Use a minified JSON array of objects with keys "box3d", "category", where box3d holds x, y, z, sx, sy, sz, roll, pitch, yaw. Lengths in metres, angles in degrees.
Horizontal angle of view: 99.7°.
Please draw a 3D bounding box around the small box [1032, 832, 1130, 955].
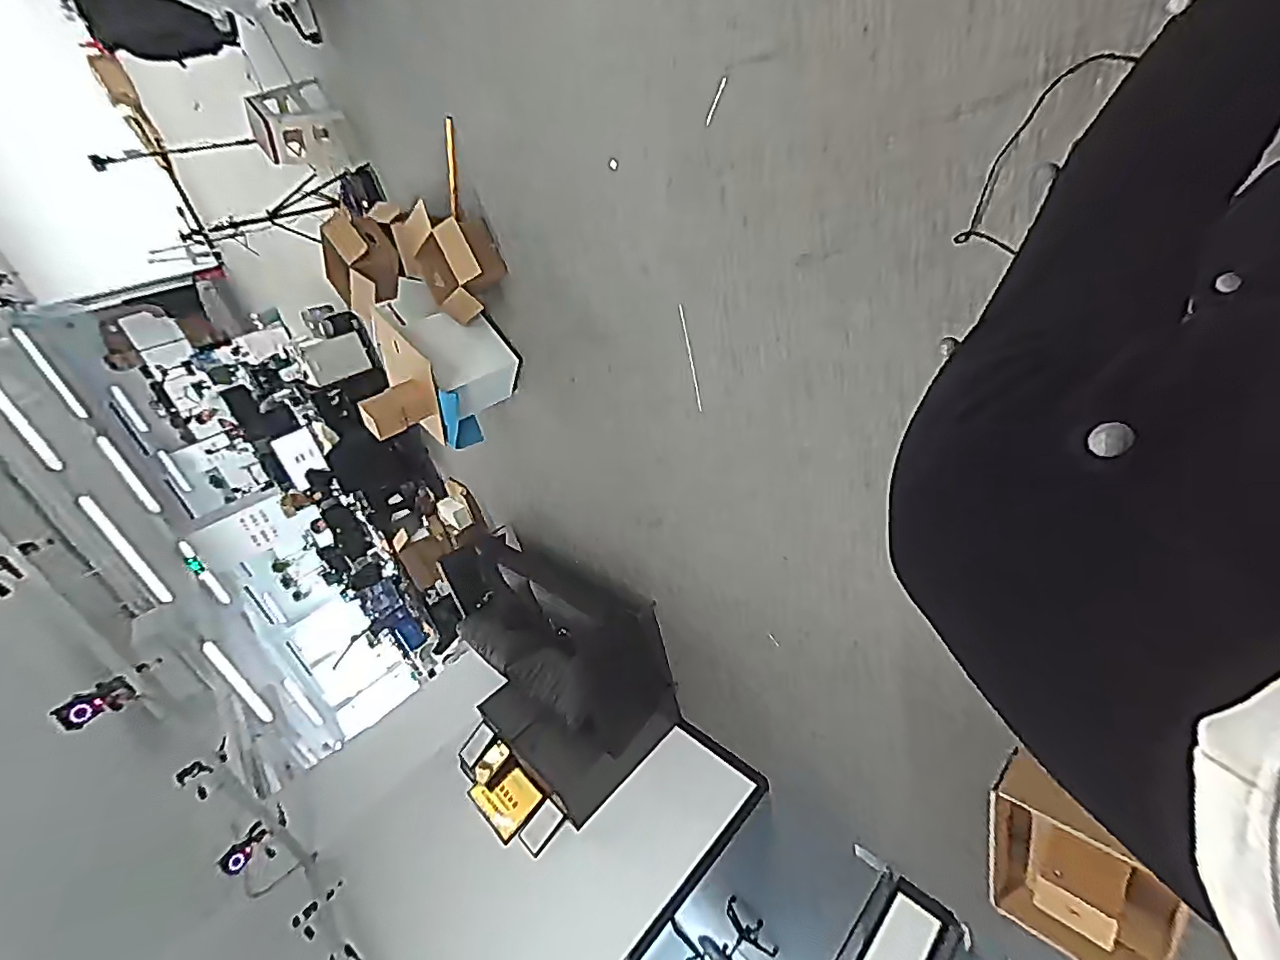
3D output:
[{"box3d":[1.214,1.128,1.489,0.179,0.176,0.168,15,130,47],"category":"small box"}]
